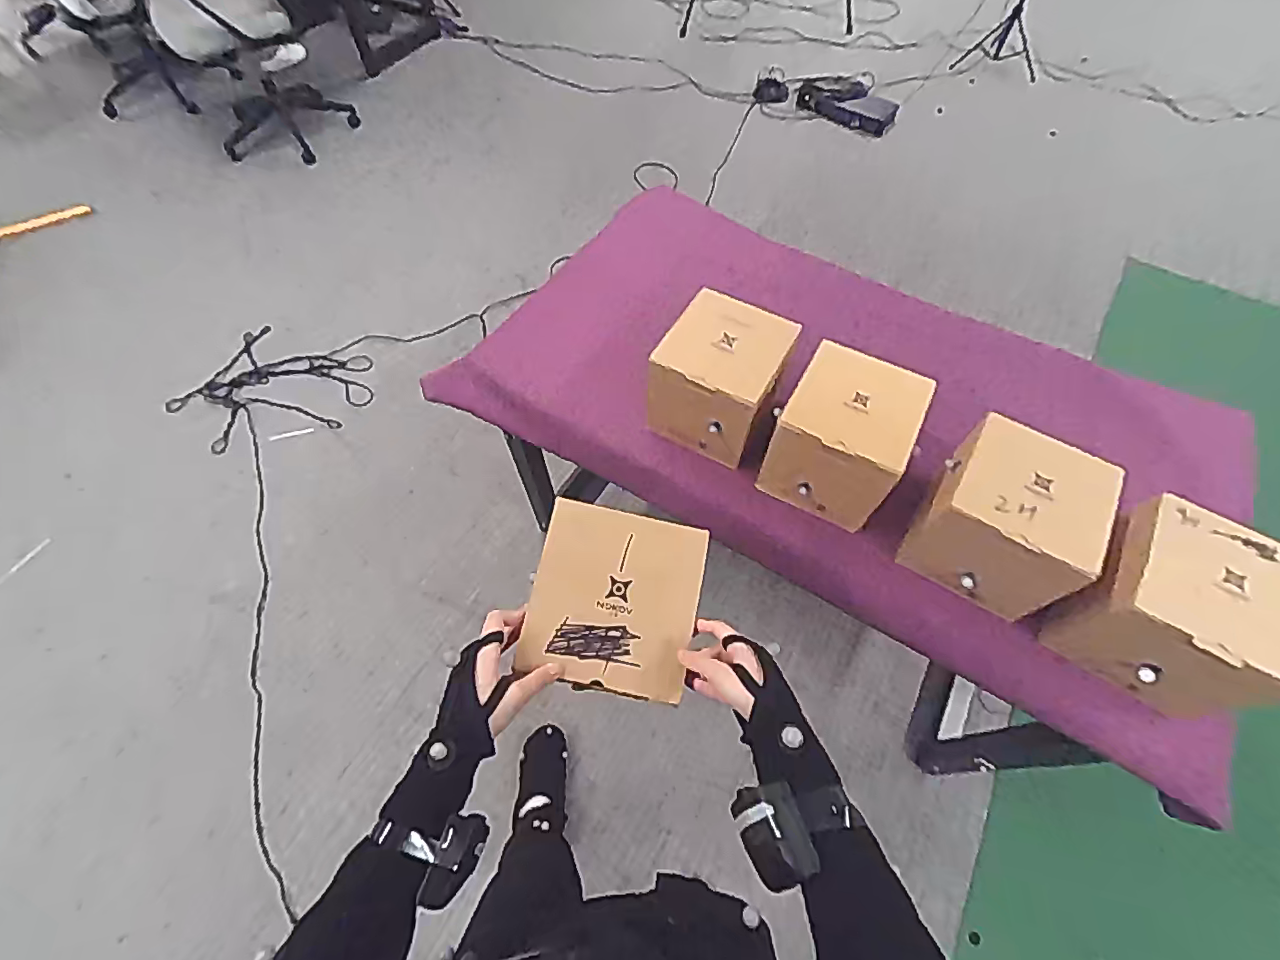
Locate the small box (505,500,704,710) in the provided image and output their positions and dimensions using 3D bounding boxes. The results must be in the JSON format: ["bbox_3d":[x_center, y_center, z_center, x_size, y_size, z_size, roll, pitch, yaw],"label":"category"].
[{"bbox_3d":[-0.036,0.141,0.607,0.168,0.176,0.179,13,72,-1],"label":"small box"}]
